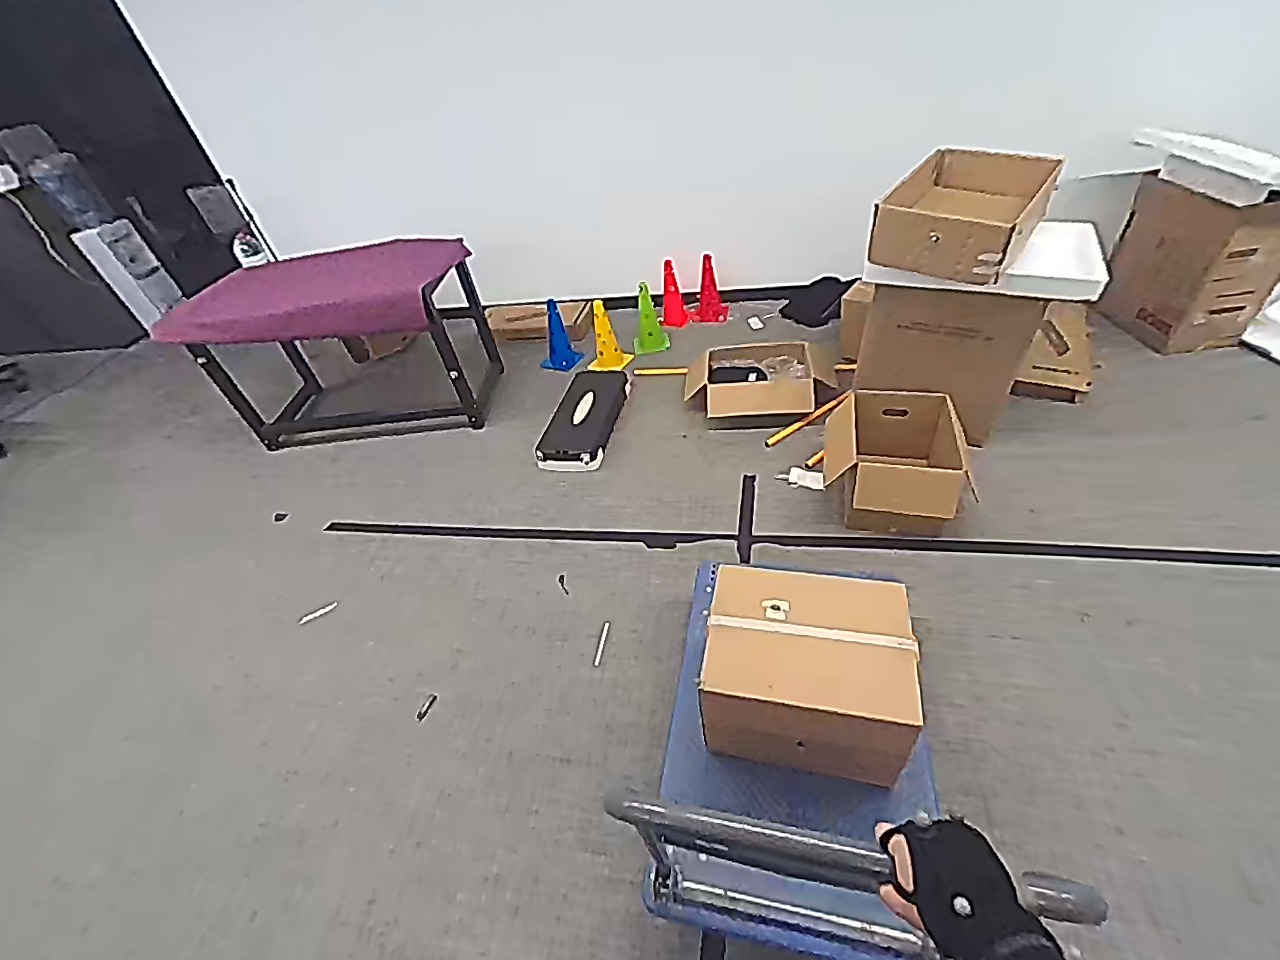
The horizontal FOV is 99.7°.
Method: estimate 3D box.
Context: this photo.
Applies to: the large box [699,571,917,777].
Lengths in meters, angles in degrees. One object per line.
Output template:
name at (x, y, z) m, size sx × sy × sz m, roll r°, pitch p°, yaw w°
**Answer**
large box at (0.365, 0.433, 1.228) m, size 0.408 × 0.320 × 0.320 m, roll 2°, pitch 43°, yaw 15°
